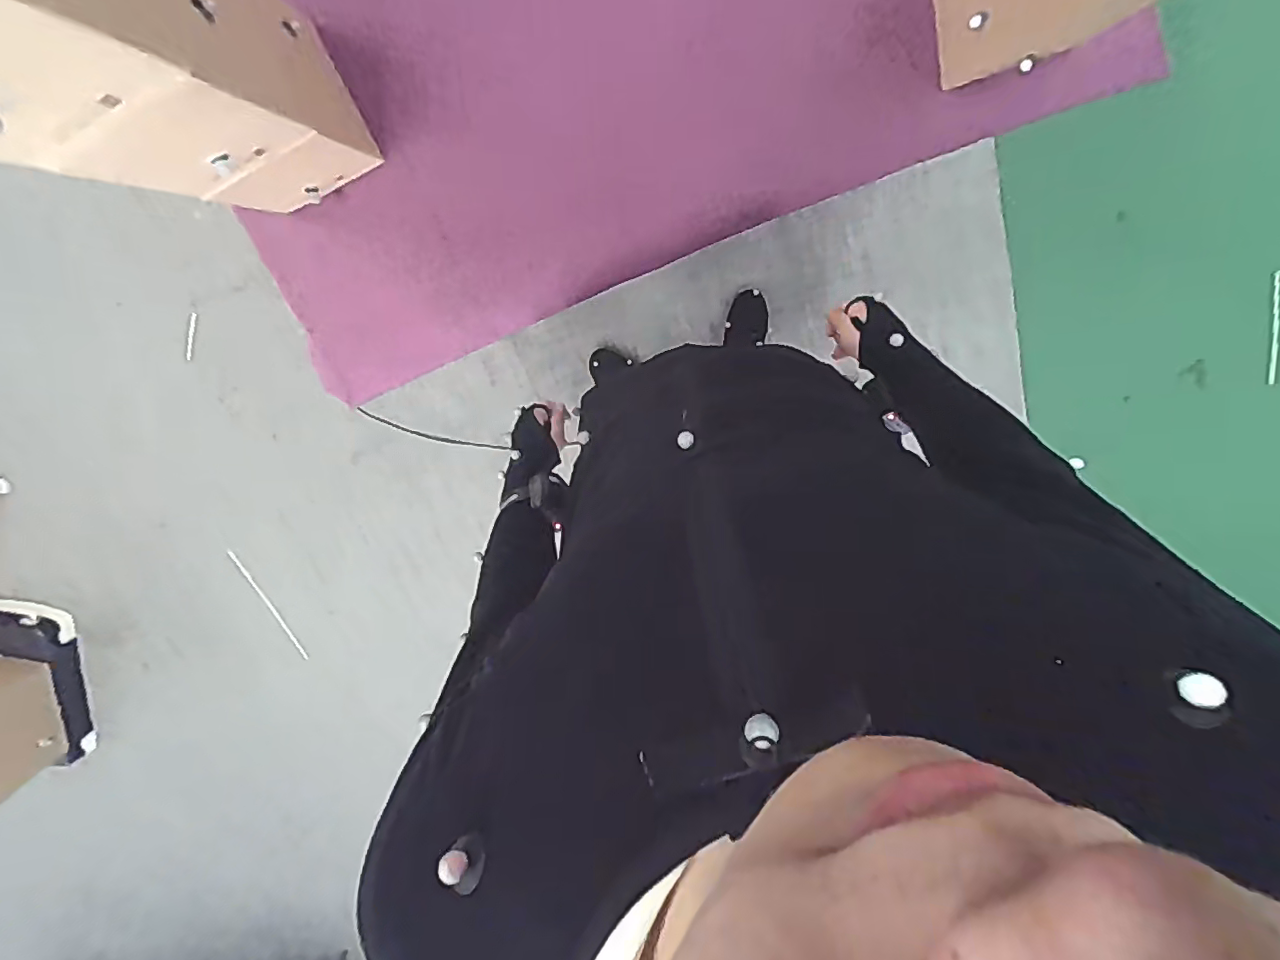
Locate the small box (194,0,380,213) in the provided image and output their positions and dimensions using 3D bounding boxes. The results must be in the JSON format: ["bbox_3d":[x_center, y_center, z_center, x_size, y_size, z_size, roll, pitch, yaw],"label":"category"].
[{"bbox_3d":[-0.463,-0.454,0.662,0.168,0.176,0.179,-22,109,10],"label":"small box"}]

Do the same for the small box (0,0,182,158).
[{"bbox_3d":[-0.474,-0.341,0.356,0.168,0.176,0.179,-22,108,11],"label":"small box"}]

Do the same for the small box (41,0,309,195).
[{"bbox_3d":[-0.468,-0.398,0.508,0.168,0.176,0.179,-22,109,10],"label":"small box"}]
